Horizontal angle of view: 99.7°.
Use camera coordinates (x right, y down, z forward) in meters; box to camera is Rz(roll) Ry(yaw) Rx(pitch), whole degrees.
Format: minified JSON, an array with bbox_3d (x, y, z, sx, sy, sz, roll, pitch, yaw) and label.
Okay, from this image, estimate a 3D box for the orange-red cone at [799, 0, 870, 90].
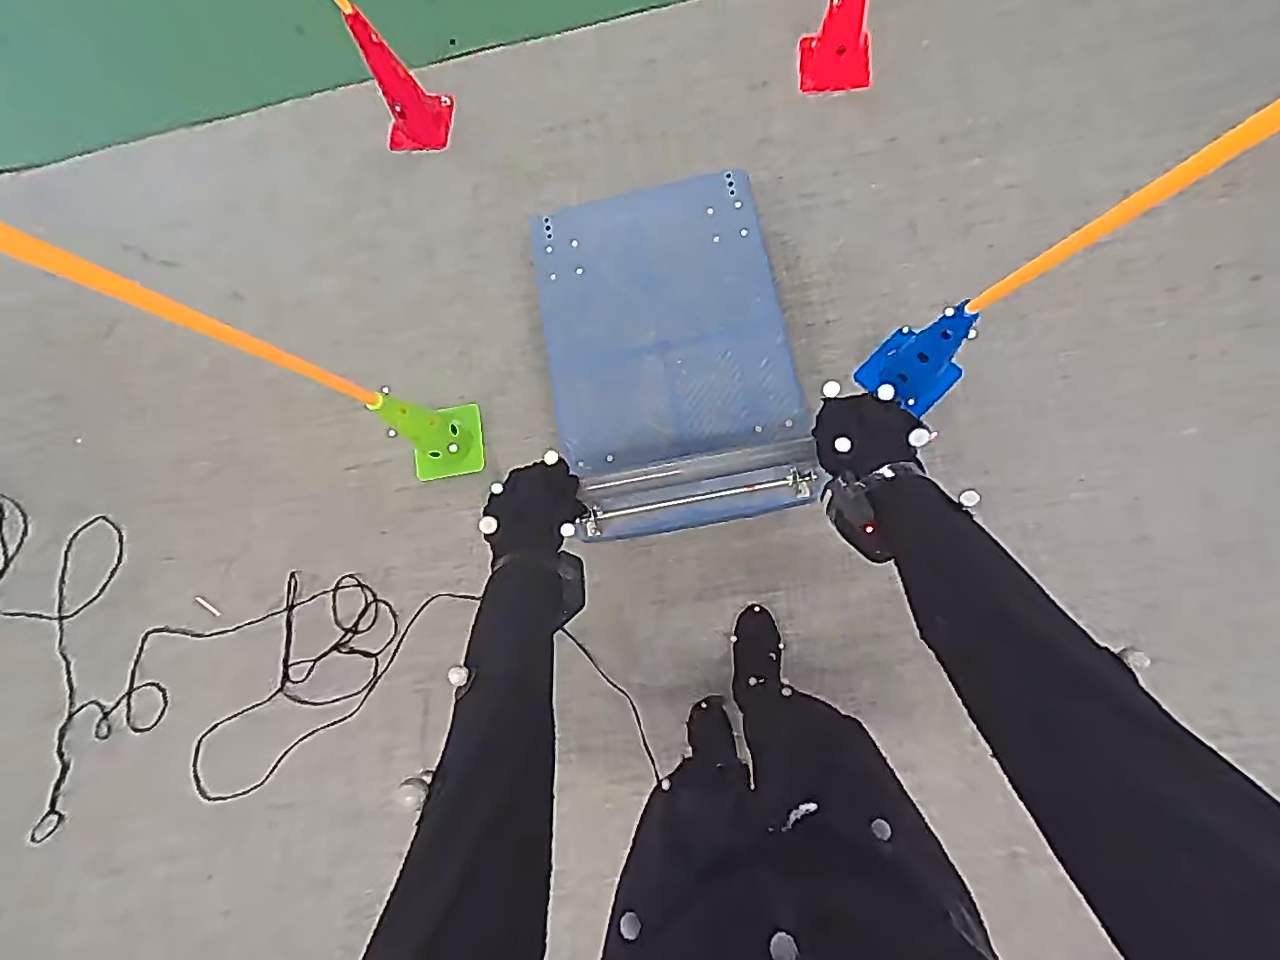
[{"bbox_3d":[0.541,-1.256,1.411,0.198,0.360,0.199,2,81,9],"label":"orange-red cone"}]
